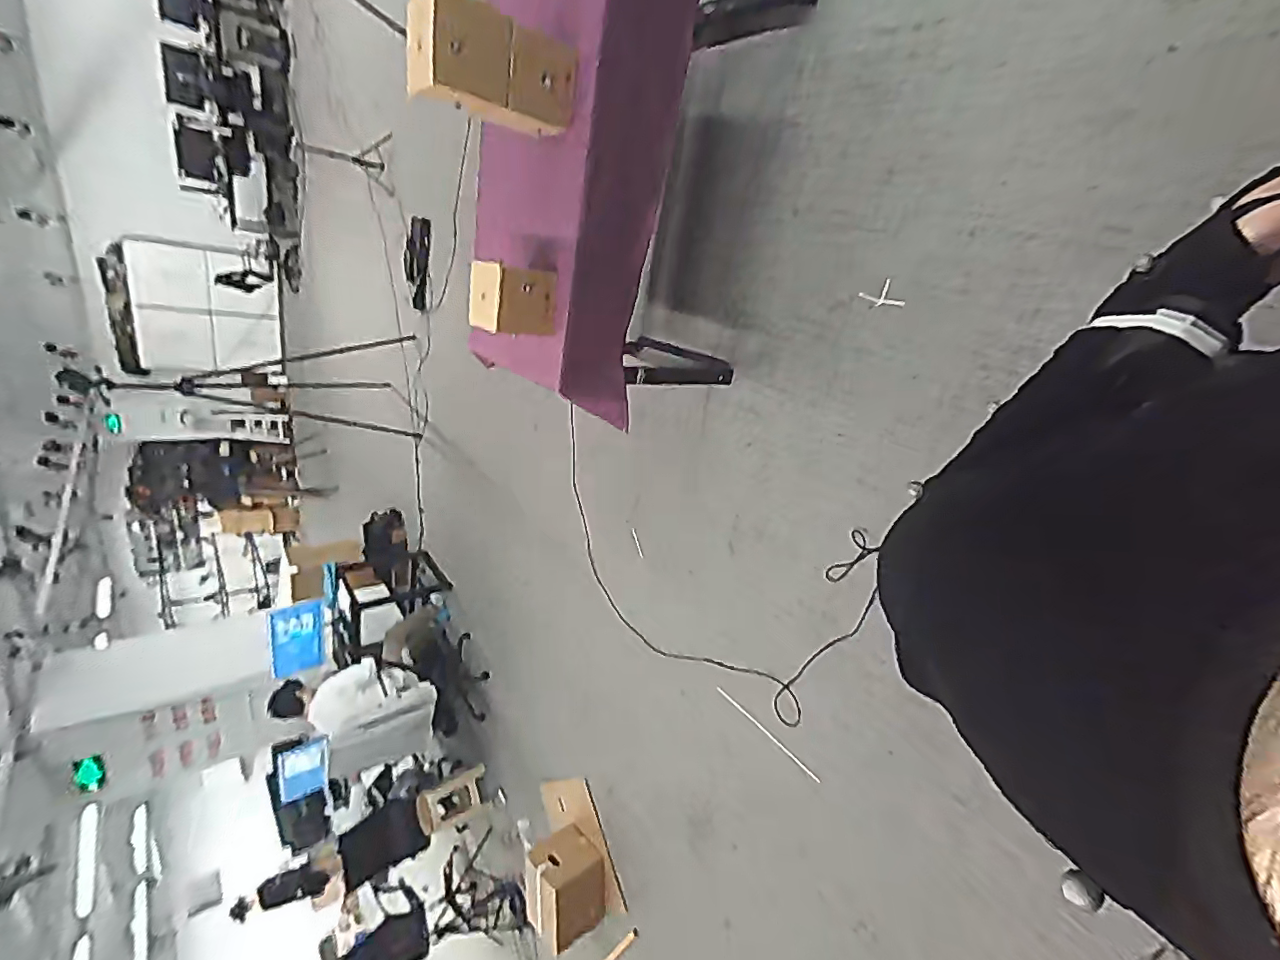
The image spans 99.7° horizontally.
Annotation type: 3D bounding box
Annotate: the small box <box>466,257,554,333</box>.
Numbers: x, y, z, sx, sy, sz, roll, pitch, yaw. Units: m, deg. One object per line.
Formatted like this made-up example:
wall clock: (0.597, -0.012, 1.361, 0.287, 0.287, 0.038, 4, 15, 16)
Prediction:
small box: (-0.349, -0.494, 1.449, 0.179, 0.176, 0.168, 29, 117, 44)

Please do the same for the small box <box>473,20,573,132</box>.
small box: (-0.279, -0.952, 1.291, 0.179, 0.176, 0.168, 30, 118, 42)

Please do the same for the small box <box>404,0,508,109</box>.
small box: (-0.403, -0.936, 1.182, 0.168, 0.176, 0.179, 30, 118, 43)
